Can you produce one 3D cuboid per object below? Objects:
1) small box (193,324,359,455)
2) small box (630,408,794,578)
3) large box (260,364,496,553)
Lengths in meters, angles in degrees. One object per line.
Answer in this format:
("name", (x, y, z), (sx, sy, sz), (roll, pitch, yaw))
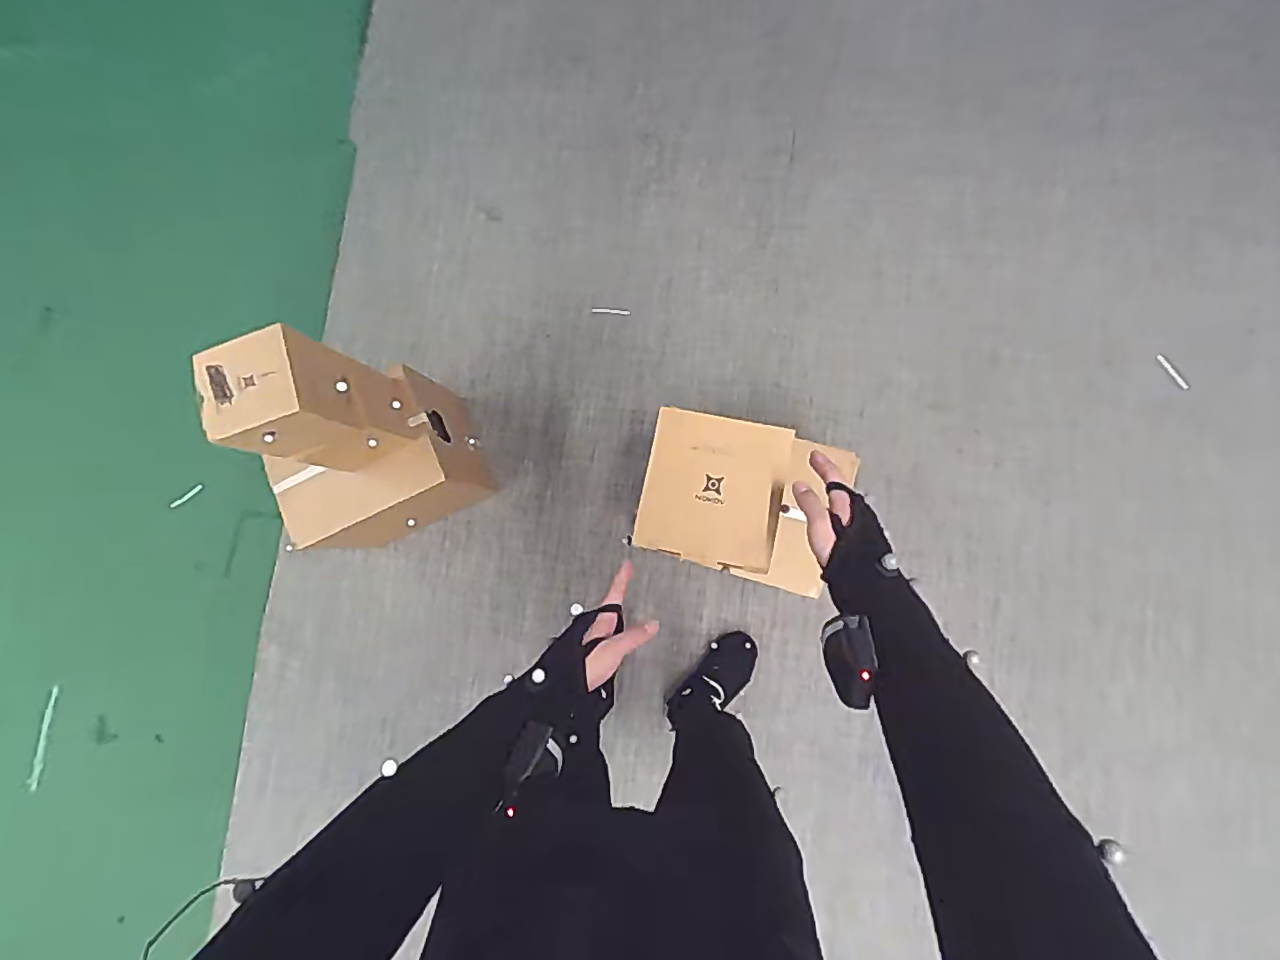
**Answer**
("small box", (-0.661, -0.156, 0.996), (0.179, 0.176, 0.168), (-18, 82, 5))
("small box", (0.094, 0.022, 0.719), (0.168, 0.176, 0.179), (12, 84, 8))
("large box", (-0.654, -0.037, 1.397), (0.408, 0.320, 0.320), (-25, 80, 5))
